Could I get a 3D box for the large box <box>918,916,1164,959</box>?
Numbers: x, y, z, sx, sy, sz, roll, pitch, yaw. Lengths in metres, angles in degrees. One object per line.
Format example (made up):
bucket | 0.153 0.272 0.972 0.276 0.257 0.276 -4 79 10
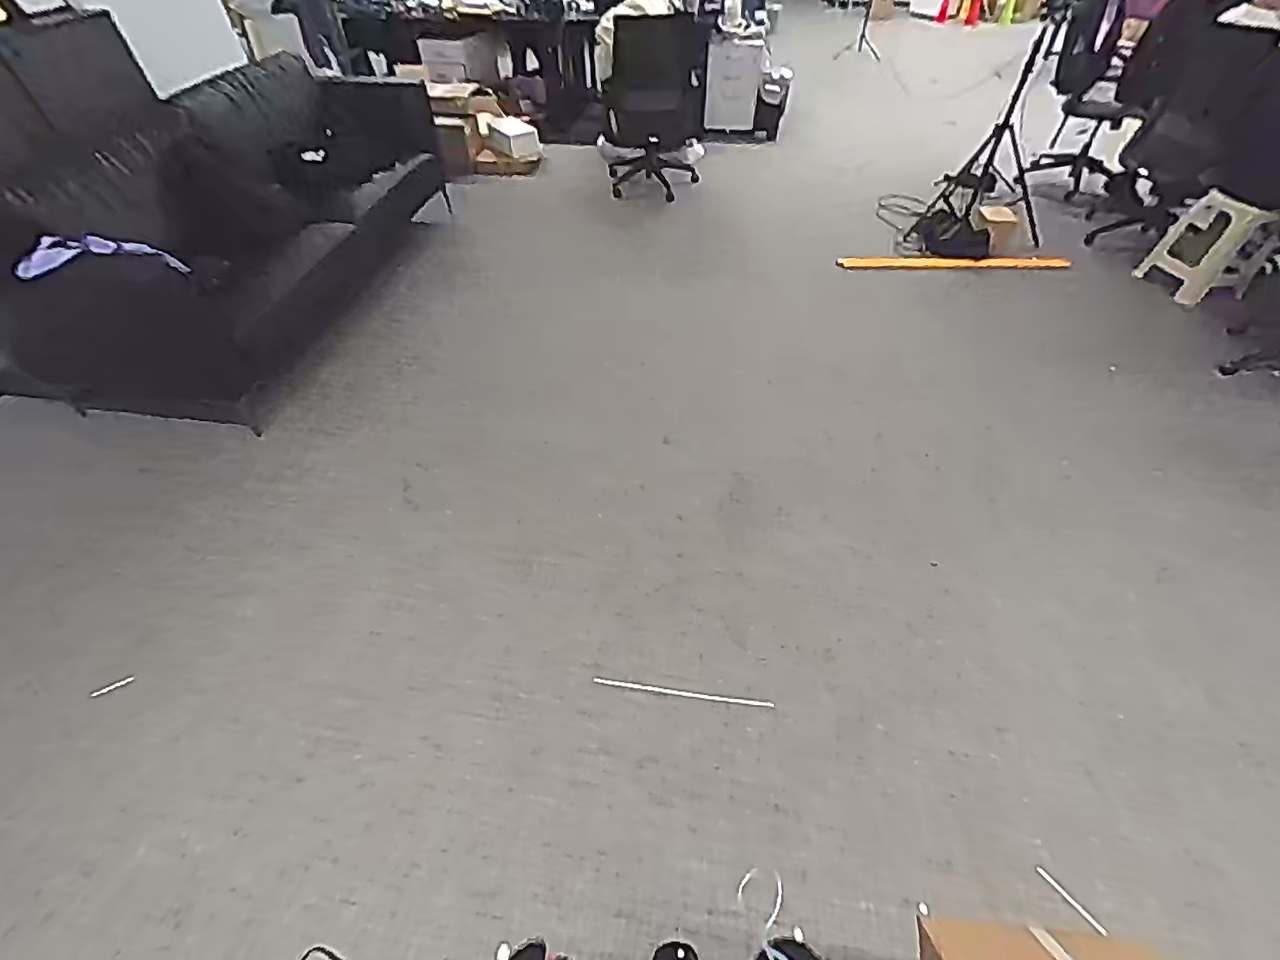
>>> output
large box | 0.536 0.769 0.568 0.320 0.408 0.320 2 81 8
